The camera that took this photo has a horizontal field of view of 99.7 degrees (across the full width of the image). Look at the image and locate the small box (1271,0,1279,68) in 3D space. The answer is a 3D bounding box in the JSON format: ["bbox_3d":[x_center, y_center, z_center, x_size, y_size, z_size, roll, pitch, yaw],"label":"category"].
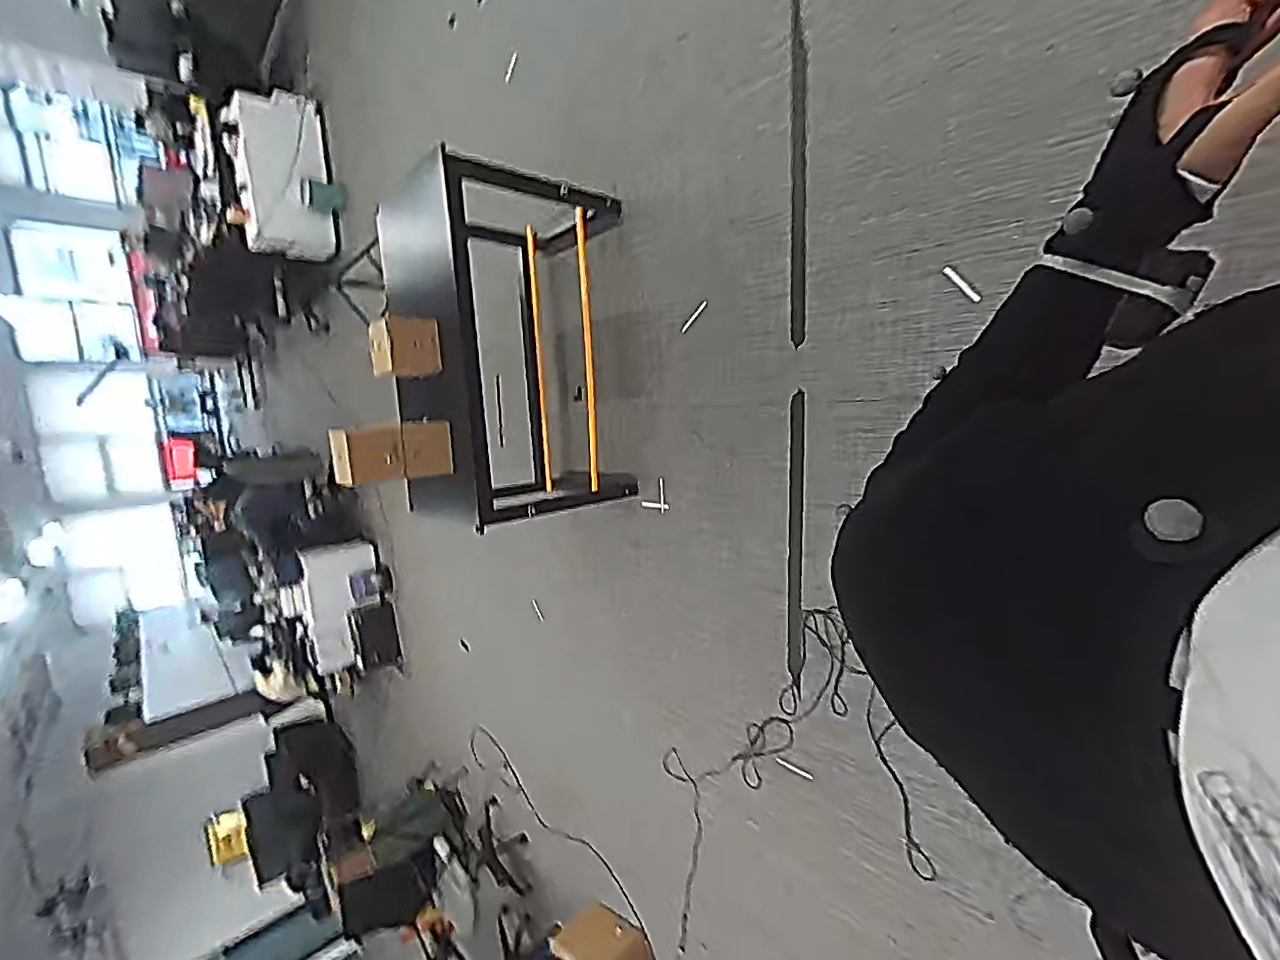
[{"bbox_3d":[0.440,-0.332,0.258,0.168,0.176,0.179,8,113,47],"label":"small box"}]

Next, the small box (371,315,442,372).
[{"bbox_3d":[-0.777,-0.456,1.814,0.179,0.176,0.168,4,101,47],"label":"small box"}]

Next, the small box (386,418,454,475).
[{"bbox_3d":[-0.750,-0.121,1.849,0.168,0.176,0.179,8,102,46],"label":"small box"}]

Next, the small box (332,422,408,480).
[{"bbox_3d":[-0.867,-0.097,1.739,0.179,0.176,0.168,6,103,46],"label":"small box"}]
